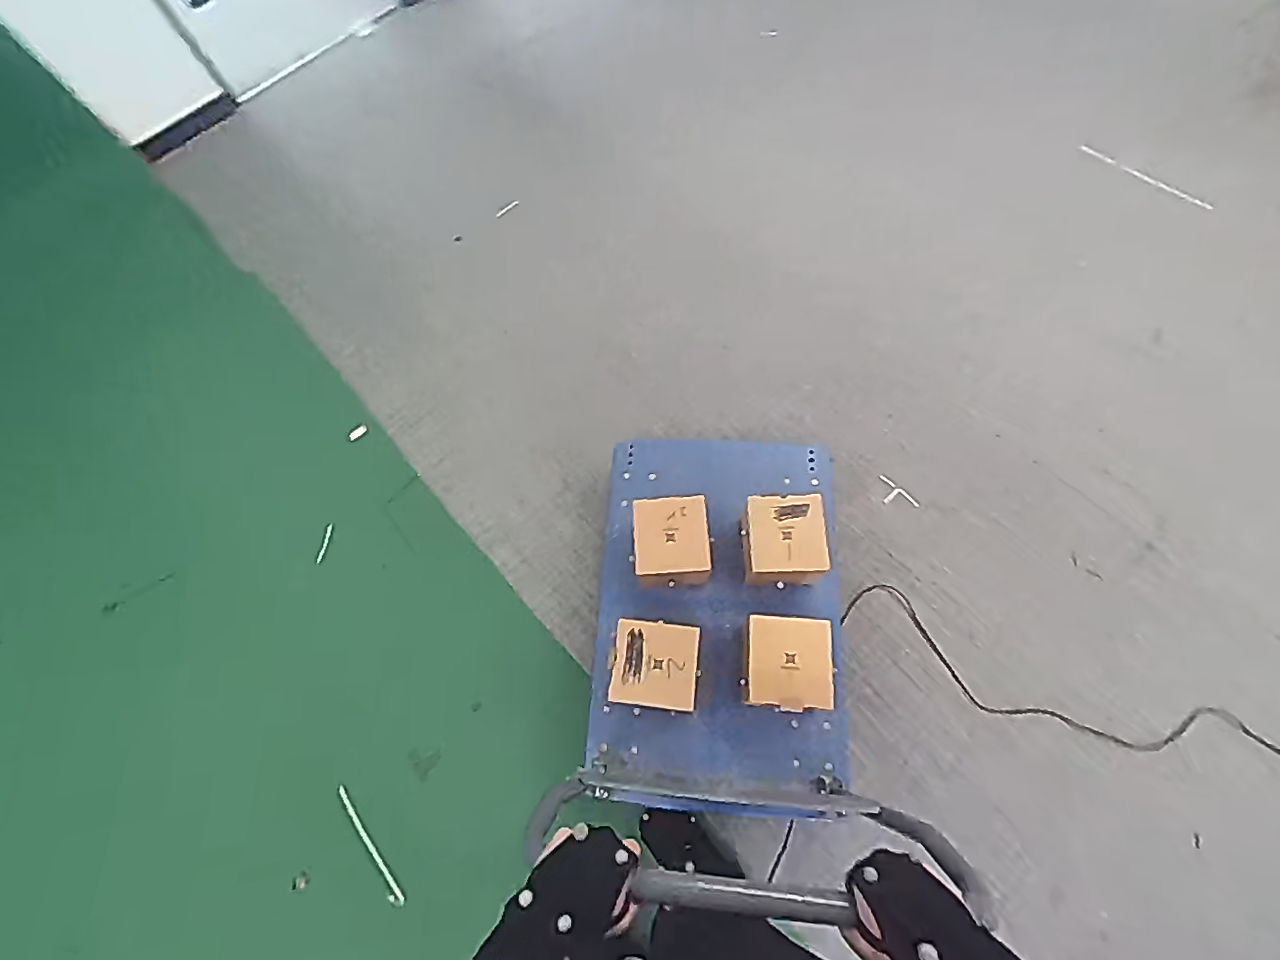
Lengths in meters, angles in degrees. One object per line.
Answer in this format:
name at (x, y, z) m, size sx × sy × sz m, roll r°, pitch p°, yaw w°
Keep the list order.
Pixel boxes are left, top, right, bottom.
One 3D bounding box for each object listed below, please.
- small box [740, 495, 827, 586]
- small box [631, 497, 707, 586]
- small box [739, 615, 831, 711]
small box at (0.326, 0.146, 1.263) m, size 0.168 × 0.176 × 0.179 m, roll -2°, pitch 69°, yaw 5°
small box at (0.070, 0.152, 1.282) m, size 0.168 × 0.176 × 0.179 m, roll -3°, pitch 68°, yaw 3°
small box at (0.305, 0.397, 1.168) m, size 0.168 × 0.176 × 0.179 m, roll 3°, pitch 69°, yaw 6°
